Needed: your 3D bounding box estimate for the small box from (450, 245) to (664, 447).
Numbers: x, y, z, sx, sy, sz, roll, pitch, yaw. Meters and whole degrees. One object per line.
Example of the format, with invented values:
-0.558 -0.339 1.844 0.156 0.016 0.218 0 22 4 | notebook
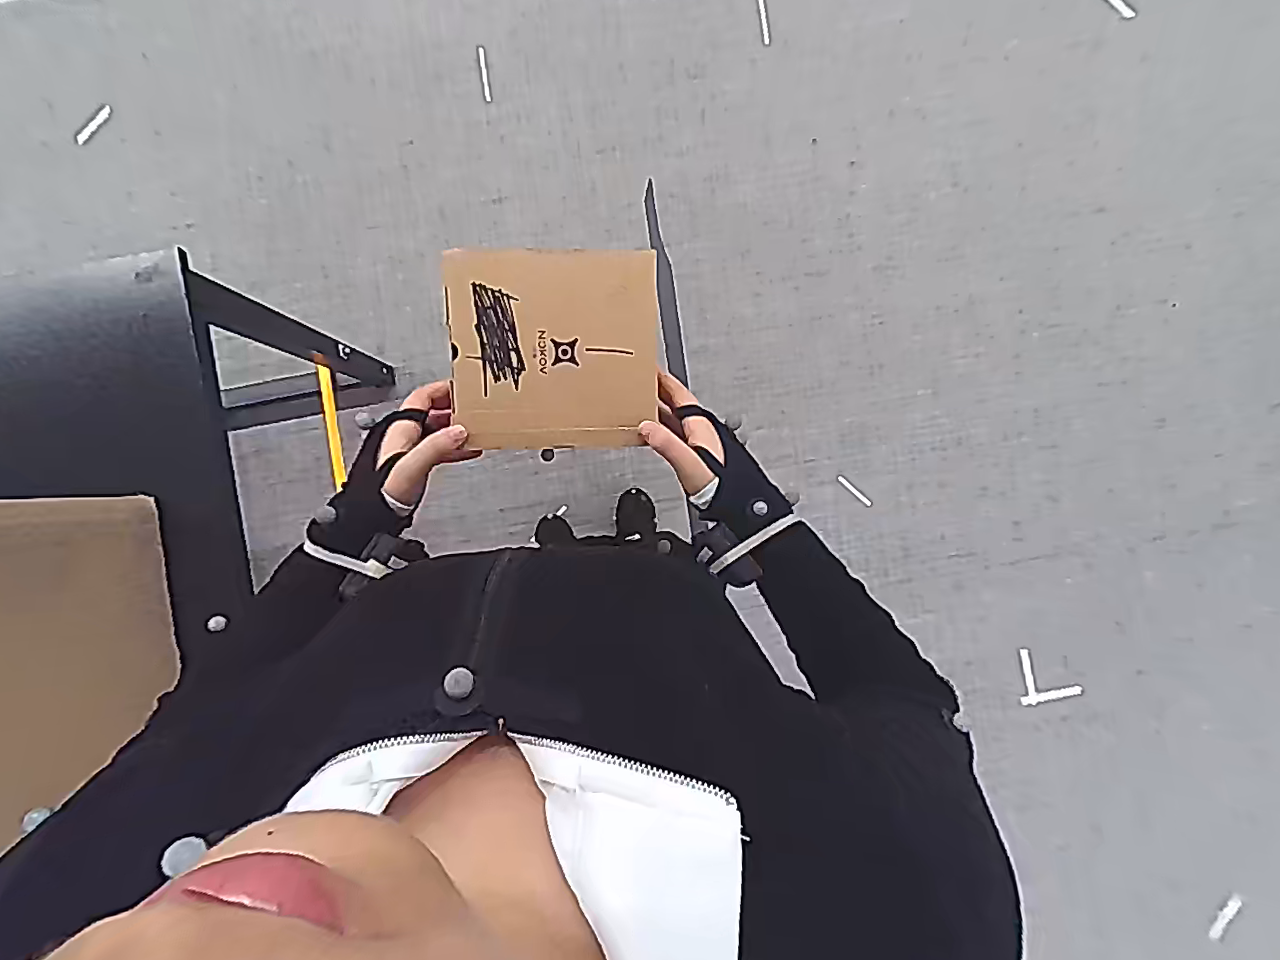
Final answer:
-0.073 -0.119 0.528 0.179 0.176 0.168 -1 98 -6 | small box
